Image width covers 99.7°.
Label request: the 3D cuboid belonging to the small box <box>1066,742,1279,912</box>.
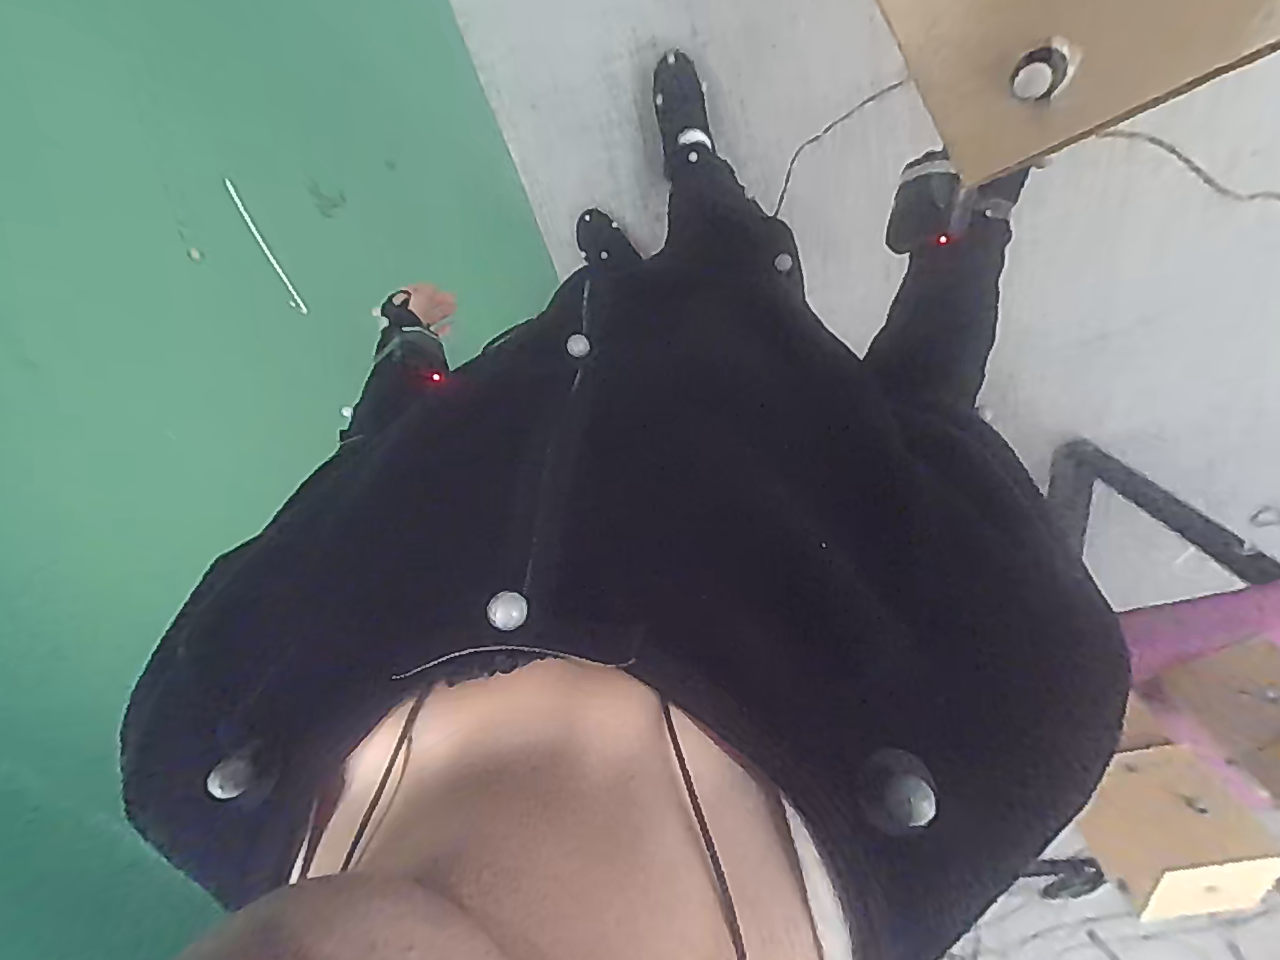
[{"bbox_3d":[0.816,0.534,0.848,0.168,0.176,0.179,-14,122,7],"label":"small box"}]

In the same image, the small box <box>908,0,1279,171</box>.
[{"bbox_3d":[0.220,-0.290,0.233,0.176,0.168,0.179,42,152,-27],"label":"small box"}]

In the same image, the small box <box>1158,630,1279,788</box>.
[{"bbox_3d":[1.092,0.399,0.955,0.179,0.176,0.168,-37,115,20],"label":"small box"}]
